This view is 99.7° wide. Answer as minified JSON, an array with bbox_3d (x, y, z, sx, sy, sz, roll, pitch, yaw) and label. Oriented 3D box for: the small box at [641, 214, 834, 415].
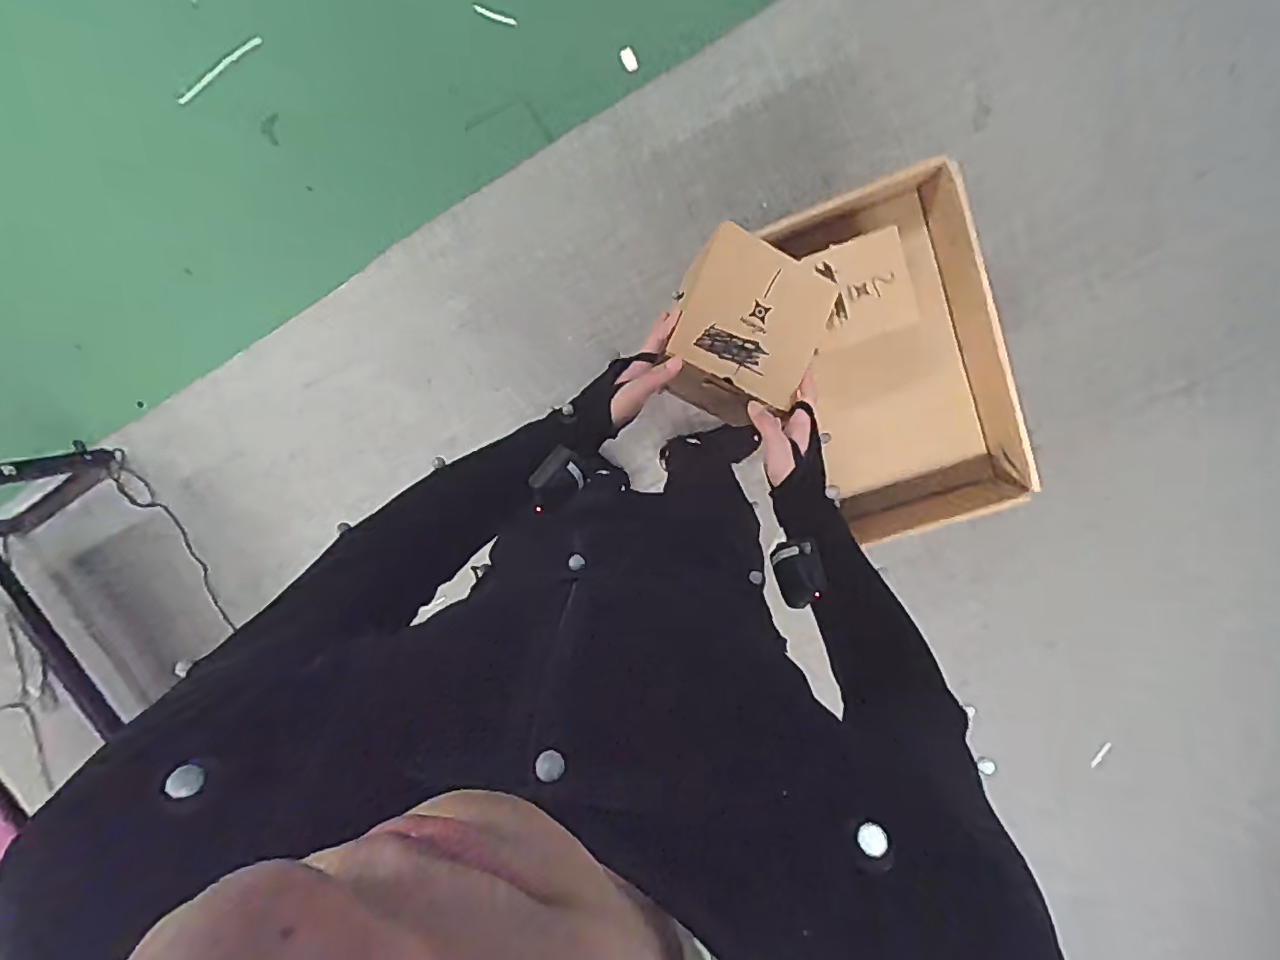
[{"bbox_3d":[0.112,-0.197,0.708,0.168,0.176,0.179,25,86,-11],"label":"small box"}]
